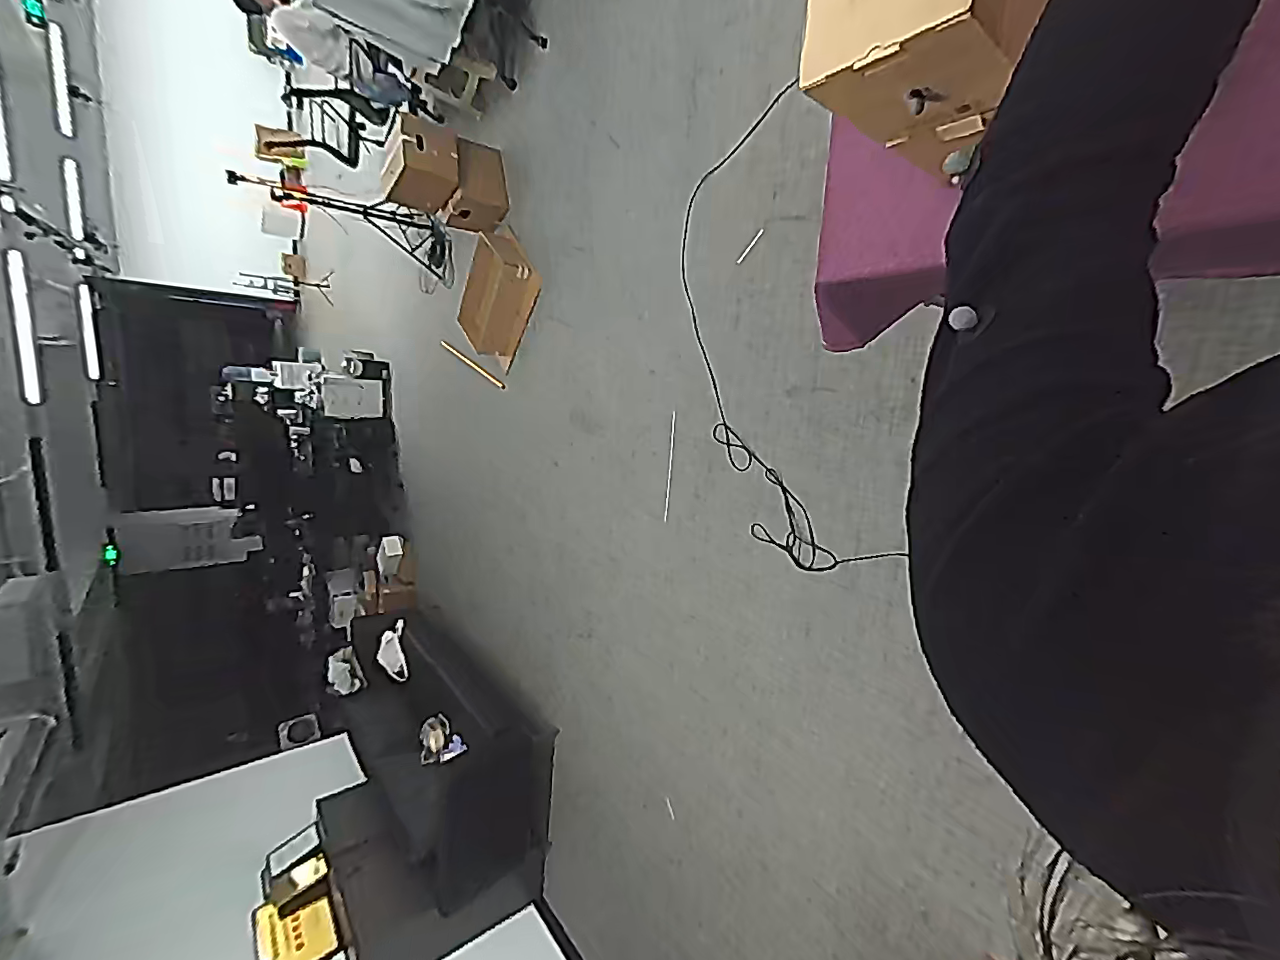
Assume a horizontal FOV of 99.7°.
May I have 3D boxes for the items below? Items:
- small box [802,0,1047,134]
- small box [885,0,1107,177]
[{"bbox_3d":[0.285,-0.474,0.535,0.168,0.176,0.179,15,106,49],"label":"small box"},{"bbox_3d":[0.416,-0.481,0.635,0.168,0.176,0.179,12,102,50],"label":"small box"}]
